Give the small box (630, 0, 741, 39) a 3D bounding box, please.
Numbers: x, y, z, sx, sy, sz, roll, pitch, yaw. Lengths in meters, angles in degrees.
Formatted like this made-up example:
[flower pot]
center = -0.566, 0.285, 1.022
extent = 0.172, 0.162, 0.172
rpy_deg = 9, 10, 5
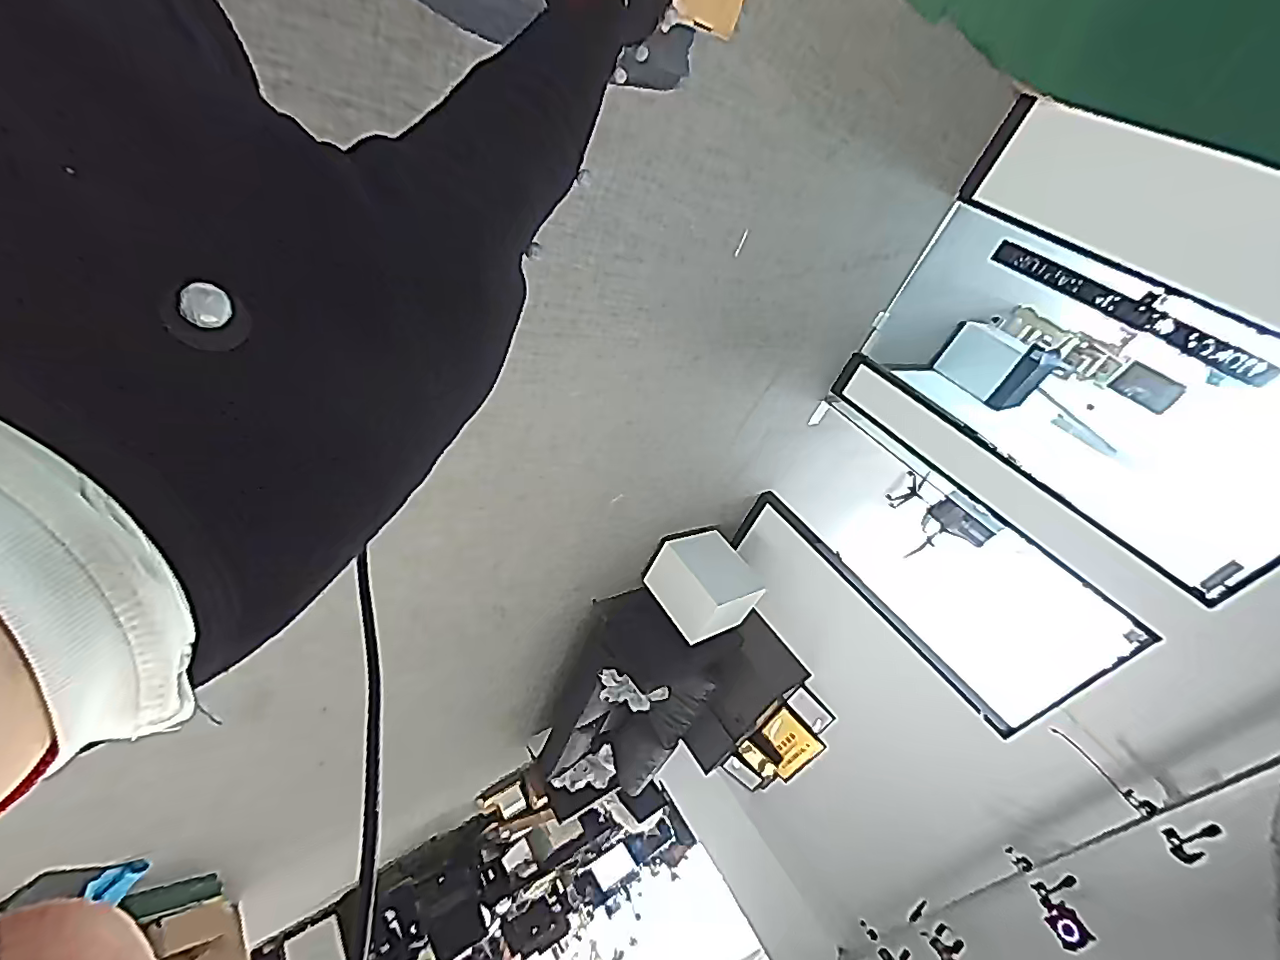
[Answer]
[small box]
center = 0.029, -0.652, 0.615
extent = 0.168, 0.176, 0.179
rpy_deg = -11, 138, -38
